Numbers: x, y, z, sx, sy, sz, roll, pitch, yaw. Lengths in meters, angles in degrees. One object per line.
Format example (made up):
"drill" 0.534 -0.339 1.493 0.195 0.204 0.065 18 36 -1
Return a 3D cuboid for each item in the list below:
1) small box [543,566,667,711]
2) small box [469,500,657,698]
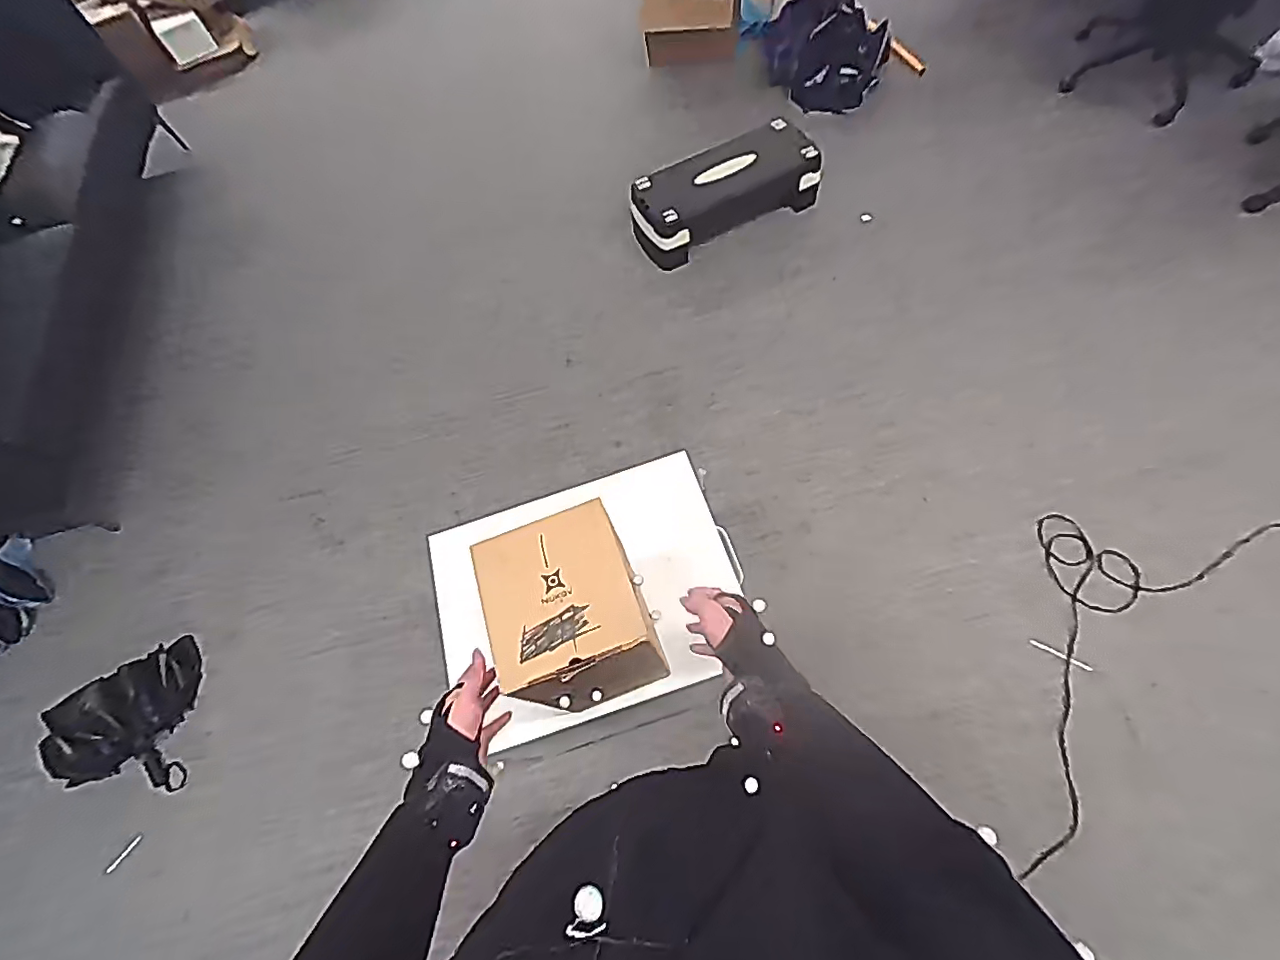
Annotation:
"small box" -0.067 0.230 0.815 0.168 0.176 0.179 -22 63 -3
"small box" -0.086 0.156 0.668 0.168 0.176 0.179 -21 62 -3
